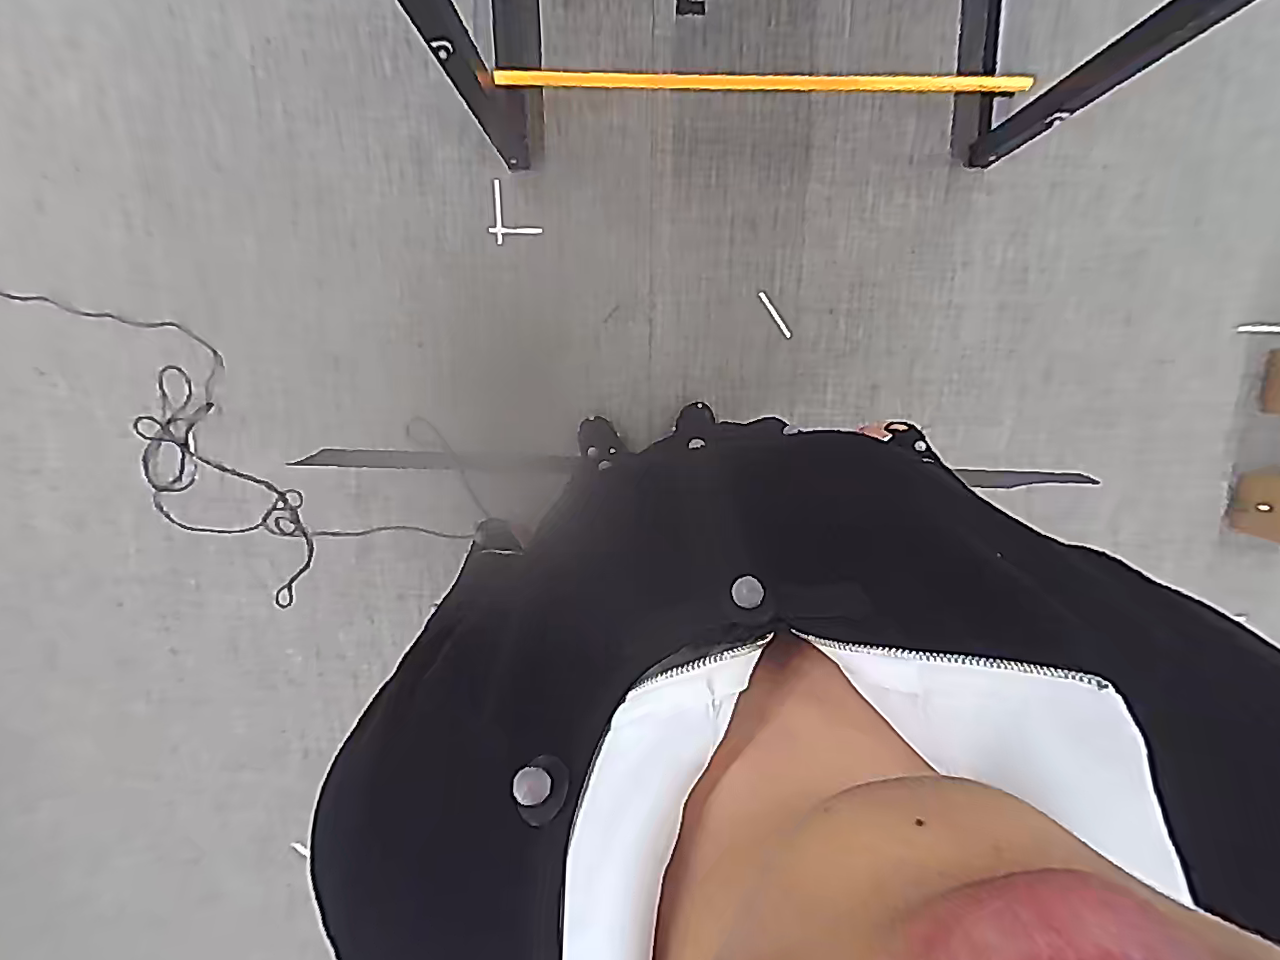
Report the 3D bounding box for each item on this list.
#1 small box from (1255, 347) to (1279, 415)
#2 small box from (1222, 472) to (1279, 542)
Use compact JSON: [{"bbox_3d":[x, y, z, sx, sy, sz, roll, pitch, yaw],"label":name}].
[{"bbox_3d":[1.719,-0.246,1.352,0.168,0.176,0.179,-1,101,1],"label":"small box"},{"bbox_3d":[1.708,0.074,1.417,0.179,0.176,0.168,2,101,1],"label":"small box"}]
